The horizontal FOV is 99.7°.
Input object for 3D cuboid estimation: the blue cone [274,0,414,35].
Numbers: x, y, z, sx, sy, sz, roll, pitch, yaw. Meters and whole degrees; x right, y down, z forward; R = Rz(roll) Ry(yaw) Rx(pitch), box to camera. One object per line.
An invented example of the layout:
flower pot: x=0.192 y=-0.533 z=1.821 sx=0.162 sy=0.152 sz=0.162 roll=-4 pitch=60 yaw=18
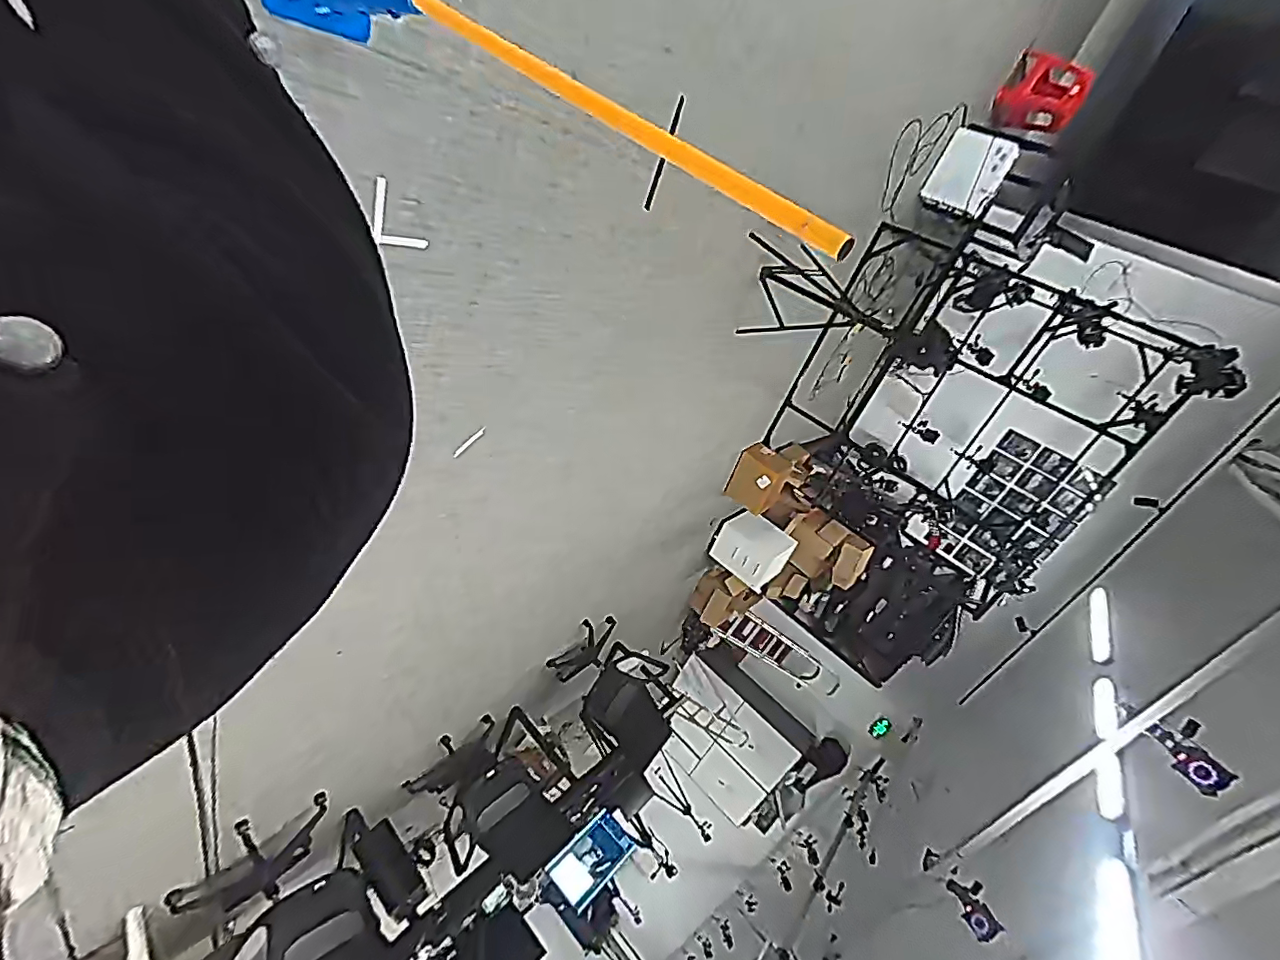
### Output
blue cone: x=-0.484 y=-0.887 z=0.951 sx=0.193 sy=0.380 sz=0.192 roll=-21 pitch=140 yaw=-47
